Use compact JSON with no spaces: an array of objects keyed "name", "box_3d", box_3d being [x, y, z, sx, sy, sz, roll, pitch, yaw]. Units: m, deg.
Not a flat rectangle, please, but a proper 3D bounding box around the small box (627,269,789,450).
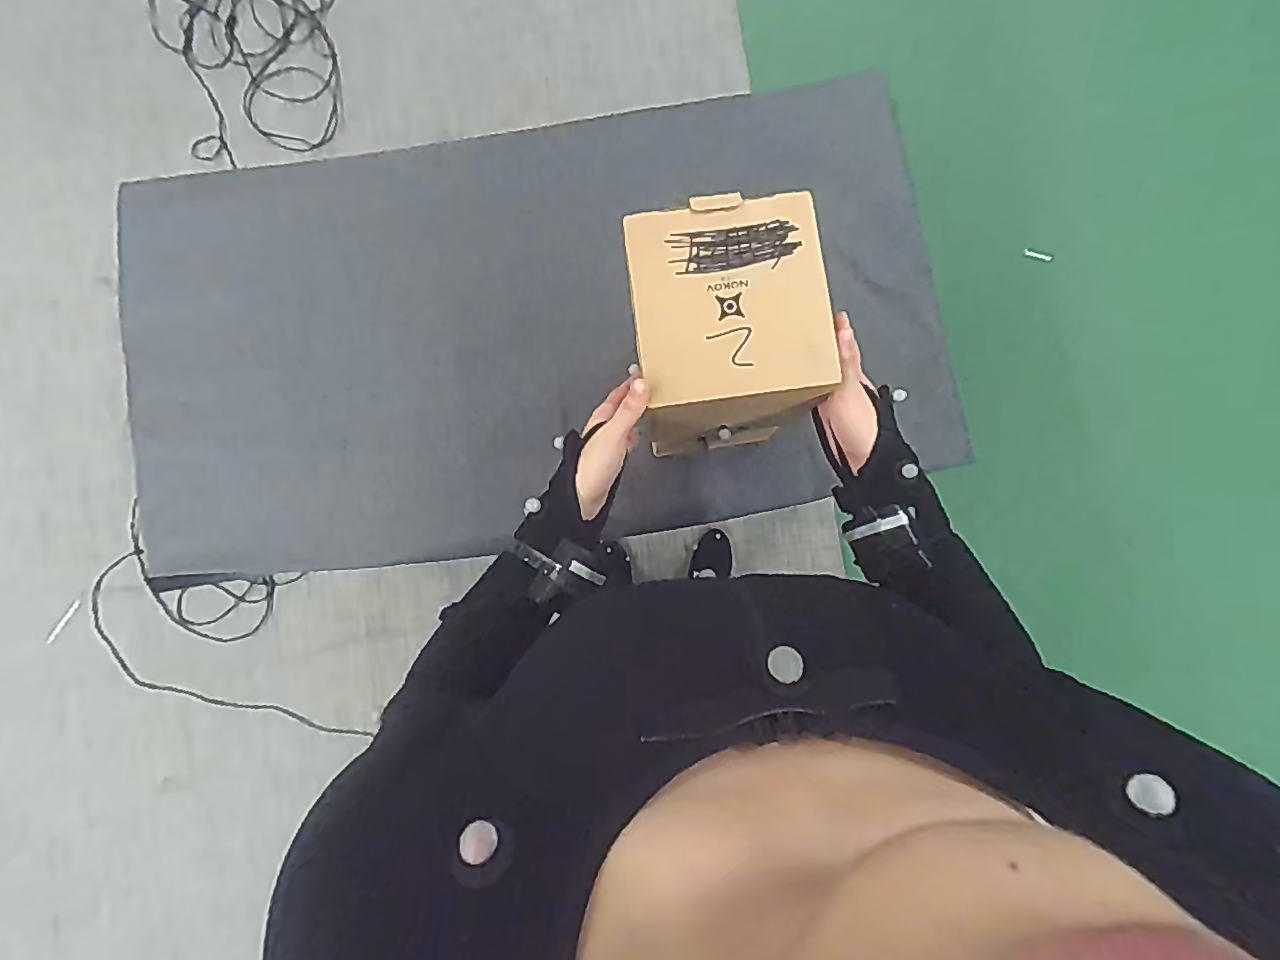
[{"name":"small box","box_3d":[0.081,-0.139,0.696,0.168,0.176,0.179,-9,84,2]}]
